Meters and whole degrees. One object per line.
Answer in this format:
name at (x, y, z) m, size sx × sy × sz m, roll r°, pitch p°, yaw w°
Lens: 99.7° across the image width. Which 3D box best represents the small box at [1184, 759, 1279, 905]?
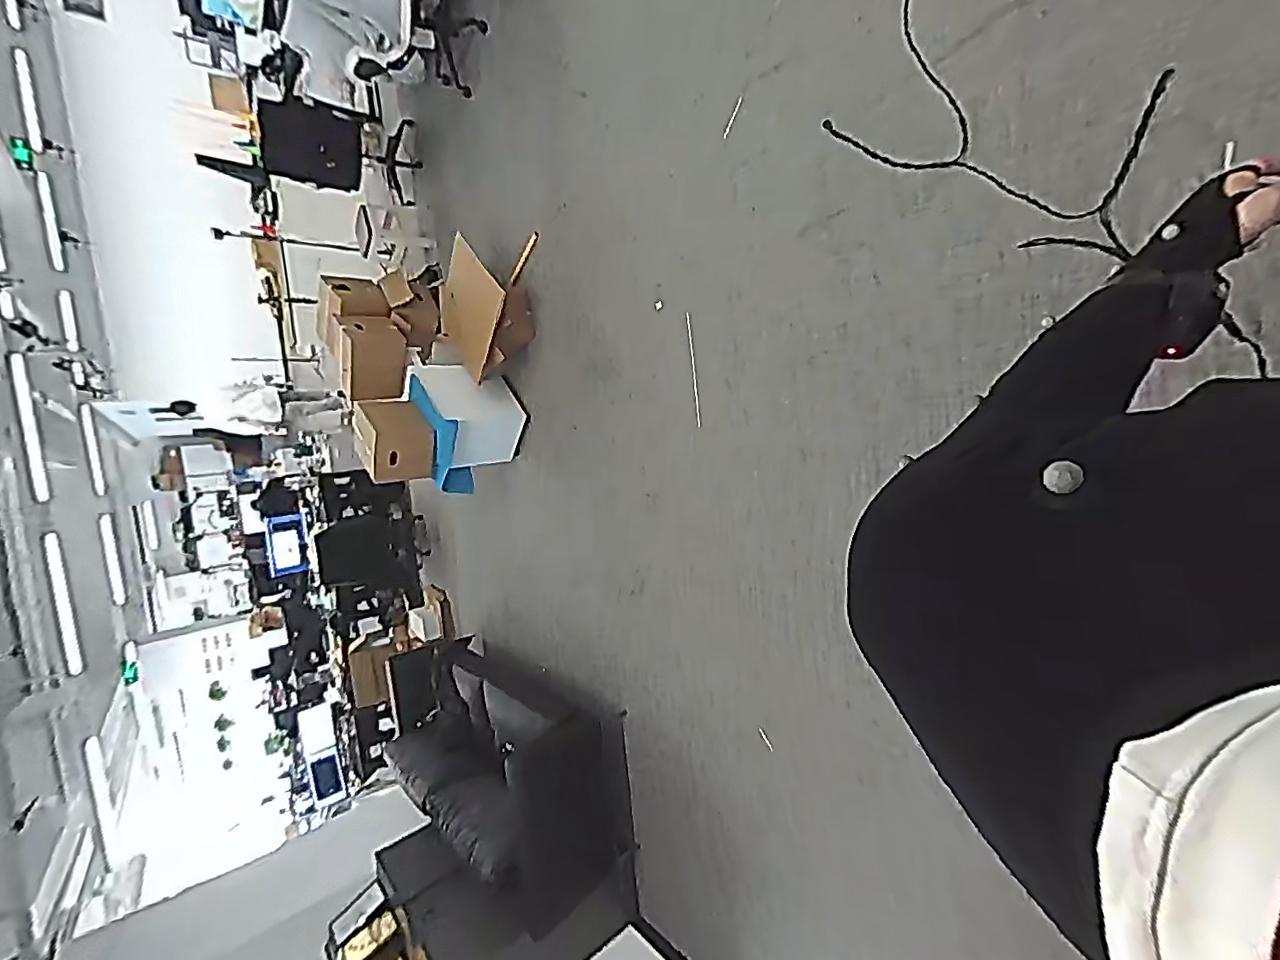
small box at (1.230, 0.706, 1.097) m, size 0.168 × 0.176 × 0.179 m, roll 1°, pitch 98°, yaw 50°
